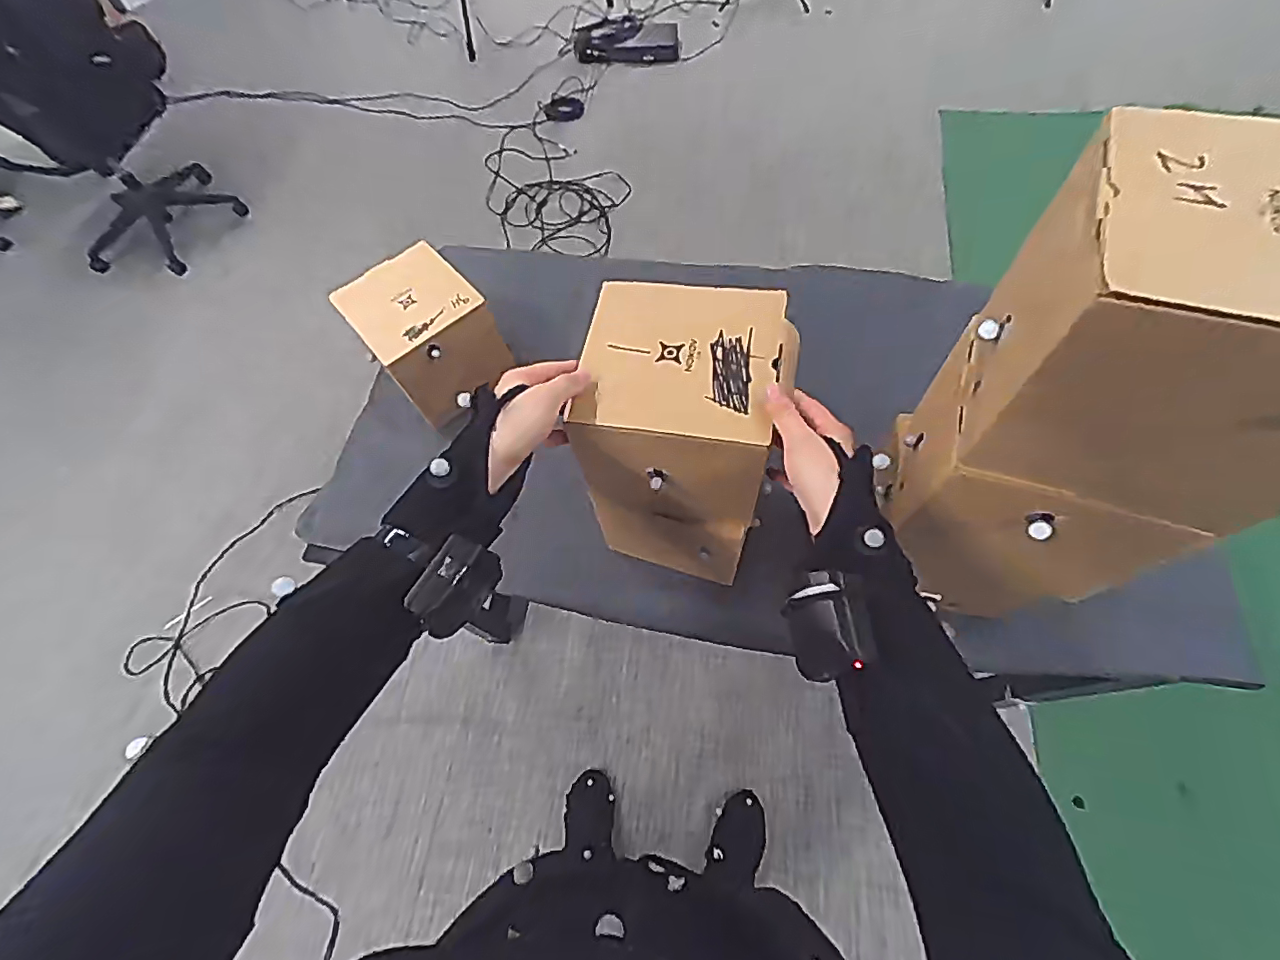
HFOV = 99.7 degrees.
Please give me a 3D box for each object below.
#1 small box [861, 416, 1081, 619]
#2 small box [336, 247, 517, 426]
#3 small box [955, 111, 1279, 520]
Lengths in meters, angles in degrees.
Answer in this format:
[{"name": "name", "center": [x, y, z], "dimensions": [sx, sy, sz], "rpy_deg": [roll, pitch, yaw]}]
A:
[{"name": "small box", "center": [0.366, 0.049, 0.638], "dimensions": [0.168, 0.176, 0.179], "rpy_deg": [6, 64, 10]}, {"name": "small box", "center": [-0.322, -0.217, 0.843], "dimensions": [0.168, 0.176, 0.179], "rpy_deg": [-39, 67, -13]}, {"name": "small box", "center": [0.337, -0.092, 0.344], "dimensions": [0.179, 0.176, 0.168], "rpy_deg": [17, 65, 16]}]
